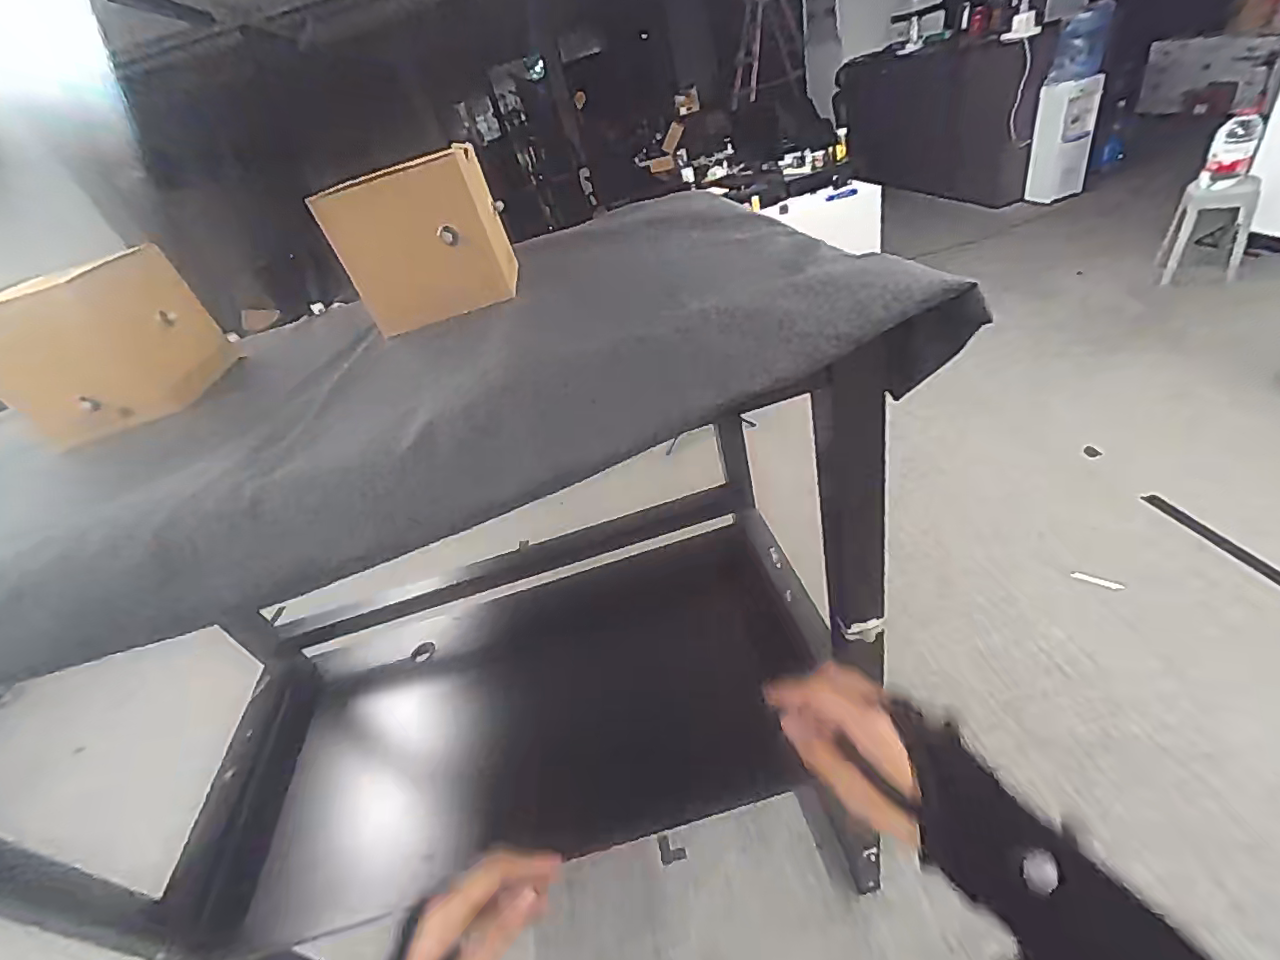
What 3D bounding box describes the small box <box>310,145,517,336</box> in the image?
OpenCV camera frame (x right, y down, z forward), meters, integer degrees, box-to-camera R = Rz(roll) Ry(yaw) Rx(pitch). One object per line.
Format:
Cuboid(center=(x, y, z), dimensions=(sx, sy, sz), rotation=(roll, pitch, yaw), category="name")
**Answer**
Cuboid(center=(-0.269, -0.308, 0.696), dimensions=(0.179, 0.176, 0.168), rotation=(-16, 35, 1), category="small box")
